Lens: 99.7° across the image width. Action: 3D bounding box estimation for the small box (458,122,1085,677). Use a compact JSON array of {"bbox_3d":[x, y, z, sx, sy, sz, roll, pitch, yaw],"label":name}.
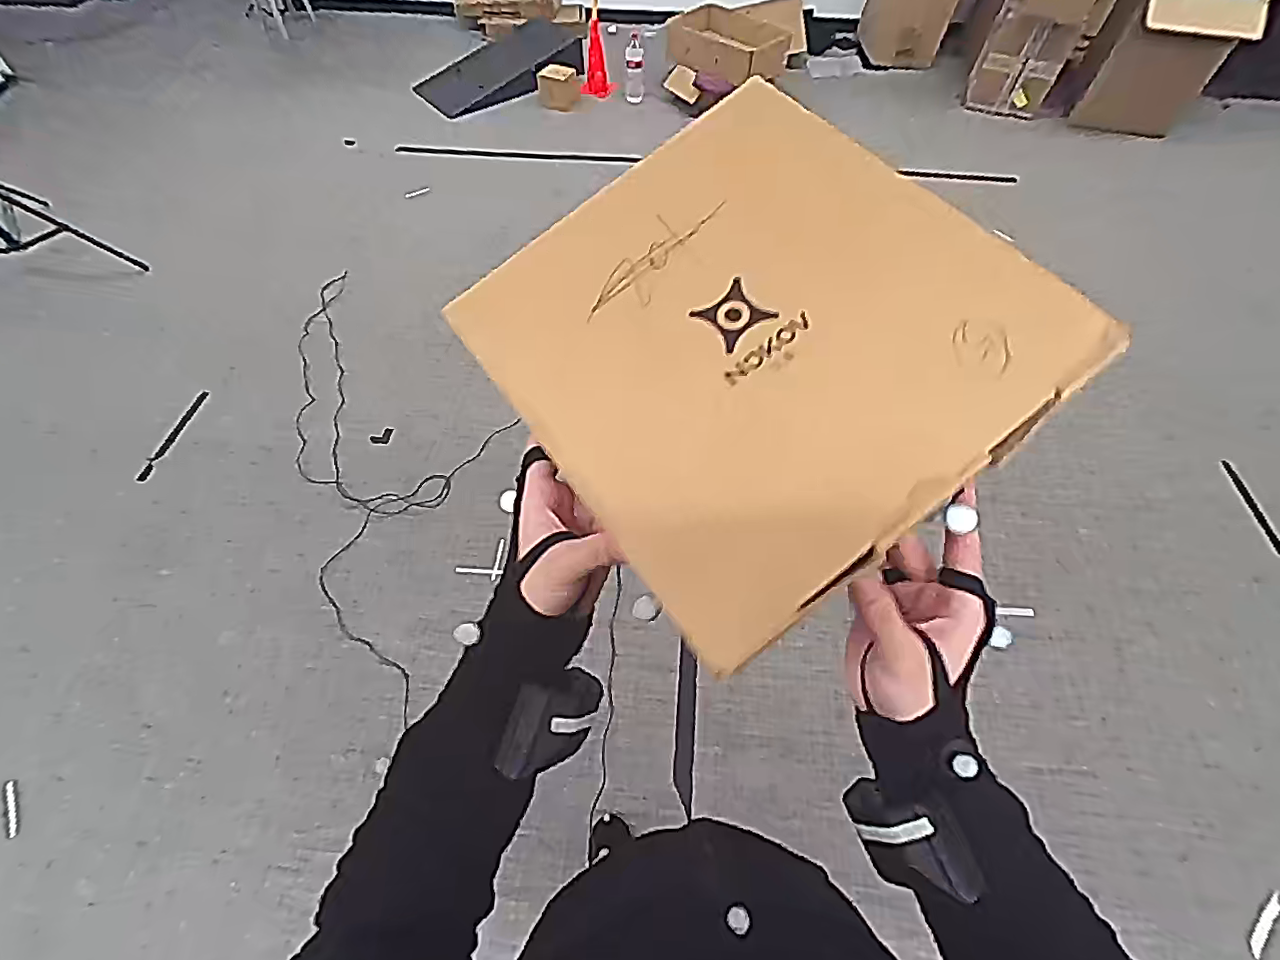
[{"bbox_3d":[0.050,-0.023,0.278,0.168,0.176,0.179,-39,67,-5],"label":"small box"}]
